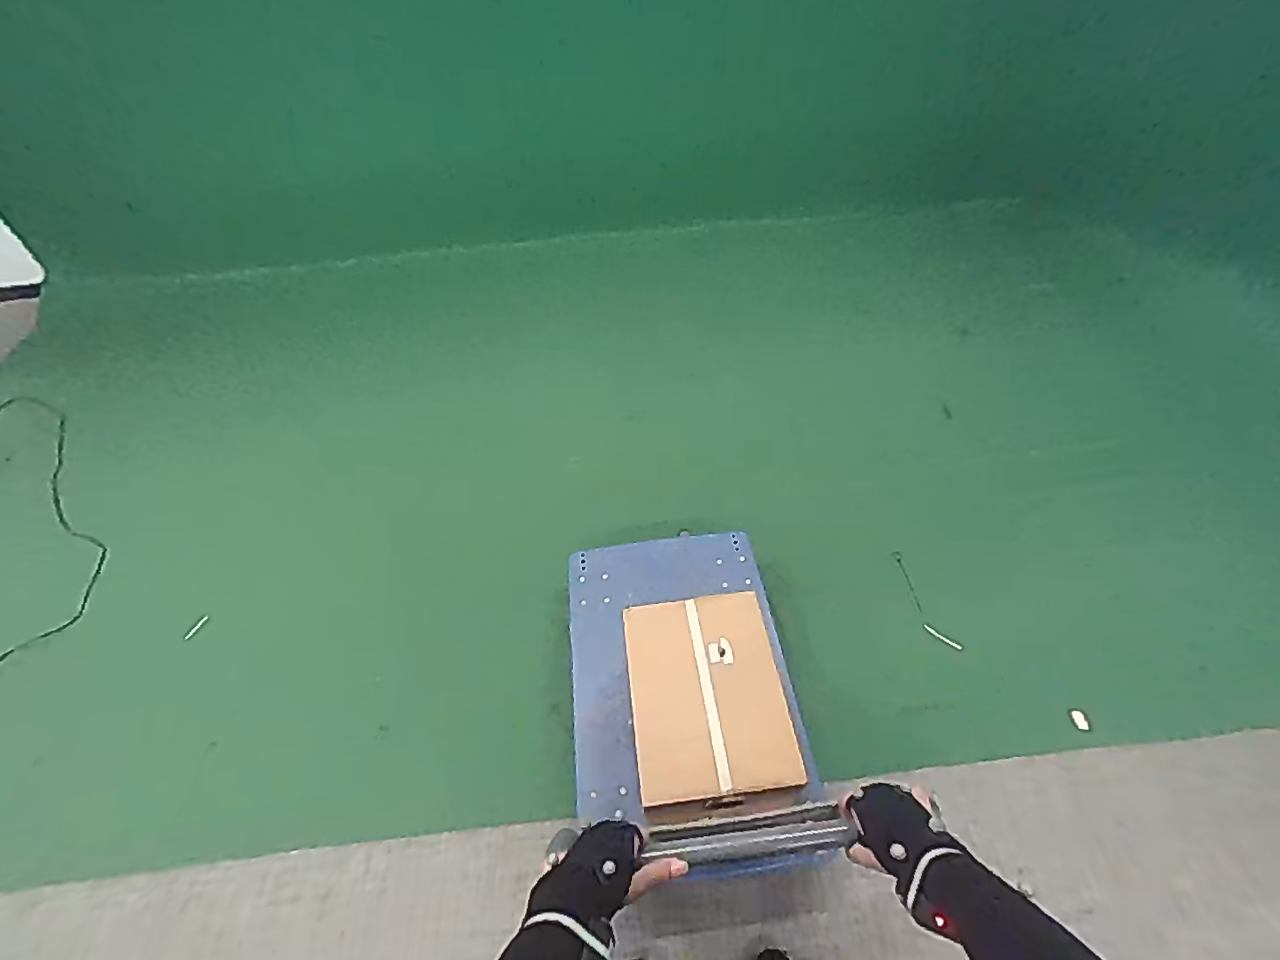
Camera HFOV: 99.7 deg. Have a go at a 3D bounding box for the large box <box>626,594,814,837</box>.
[{"bbox_3d":[0.154,0.527,1.220,0.320,0.320,0.408,-7,49,-2],"label":"large box"}]
